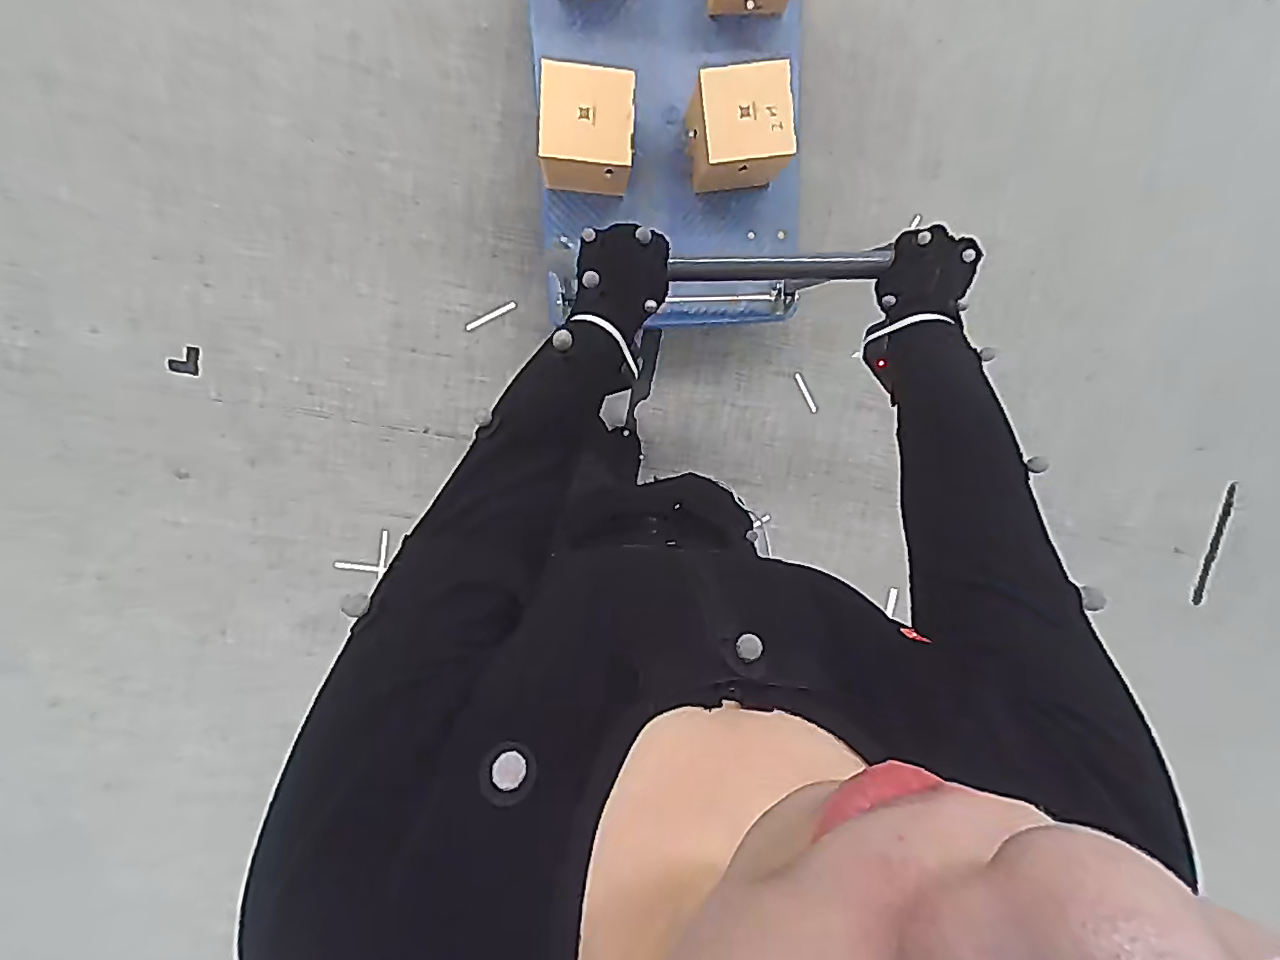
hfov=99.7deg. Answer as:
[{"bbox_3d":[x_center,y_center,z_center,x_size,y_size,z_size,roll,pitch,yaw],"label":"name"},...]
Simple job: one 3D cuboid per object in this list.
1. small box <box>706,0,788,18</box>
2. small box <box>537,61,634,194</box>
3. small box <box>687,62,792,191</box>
[{"bbox_3d":[0.223,-1.054,1.053,0.168,0.176,0.179,-4,102,-4],"label":"small box"},{"bbox_3d":[-0.109,-0.697,1.088,0.179,0.176,0.168,2,100,-7],"label":"small box"},{"bbox_3d":[0.196,-0.715,1.111,0.179,0.176,0.168,-8,101,-3],"label":"small box"}]
